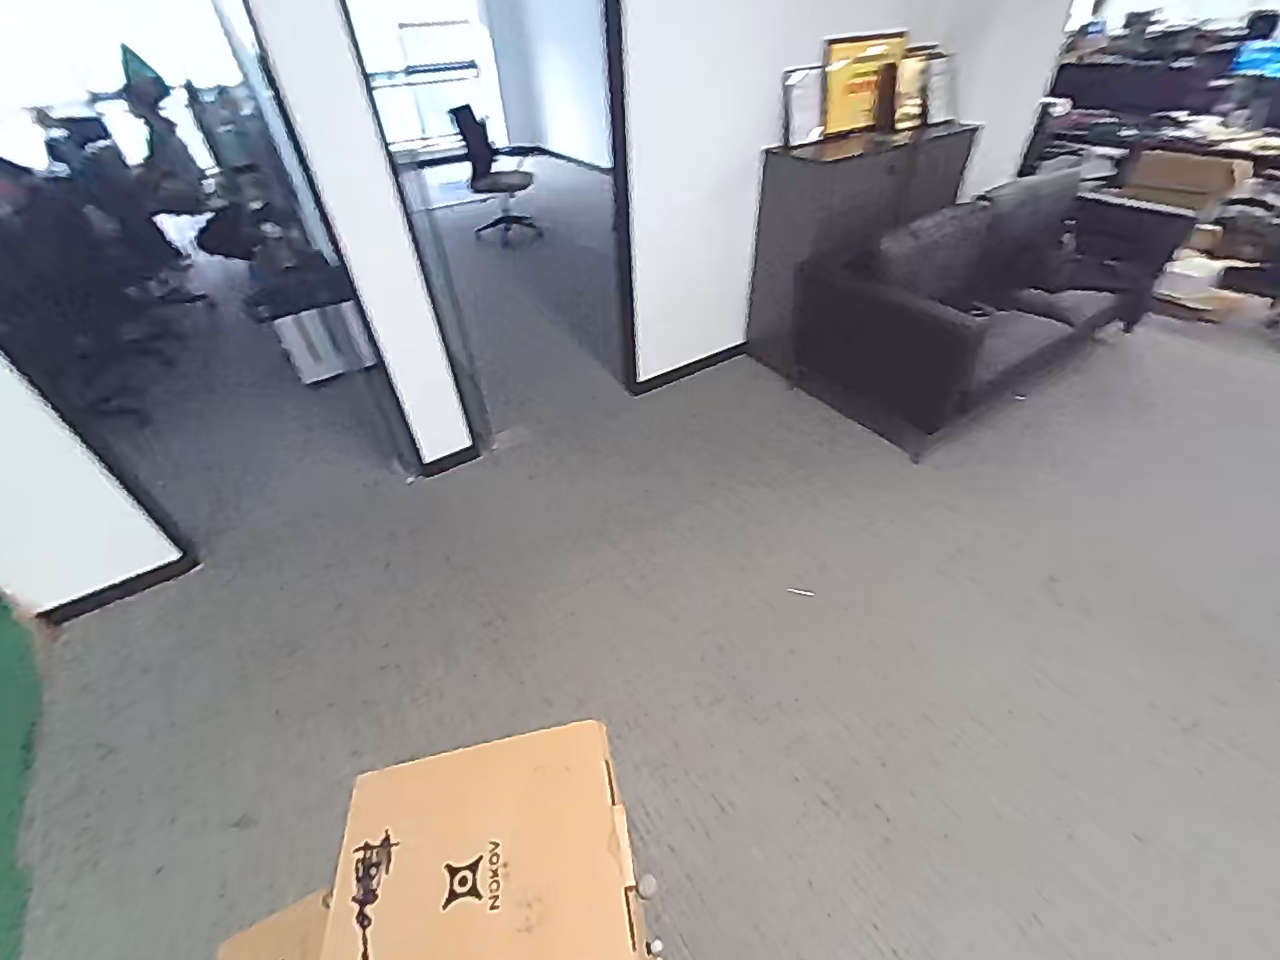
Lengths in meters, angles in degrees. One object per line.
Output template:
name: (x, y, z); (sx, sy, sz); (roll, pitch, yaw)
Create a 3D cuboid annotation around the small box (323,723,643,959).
small box: (-0.091, 0.303, 0.377); (0.179, 0.176, 0.168); (-9, 38, -6)

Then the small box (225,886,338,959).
small box: (-0.579, 0.855, 0.932); (0.179, 0.176, 0.168); (-20, 45, -19)
